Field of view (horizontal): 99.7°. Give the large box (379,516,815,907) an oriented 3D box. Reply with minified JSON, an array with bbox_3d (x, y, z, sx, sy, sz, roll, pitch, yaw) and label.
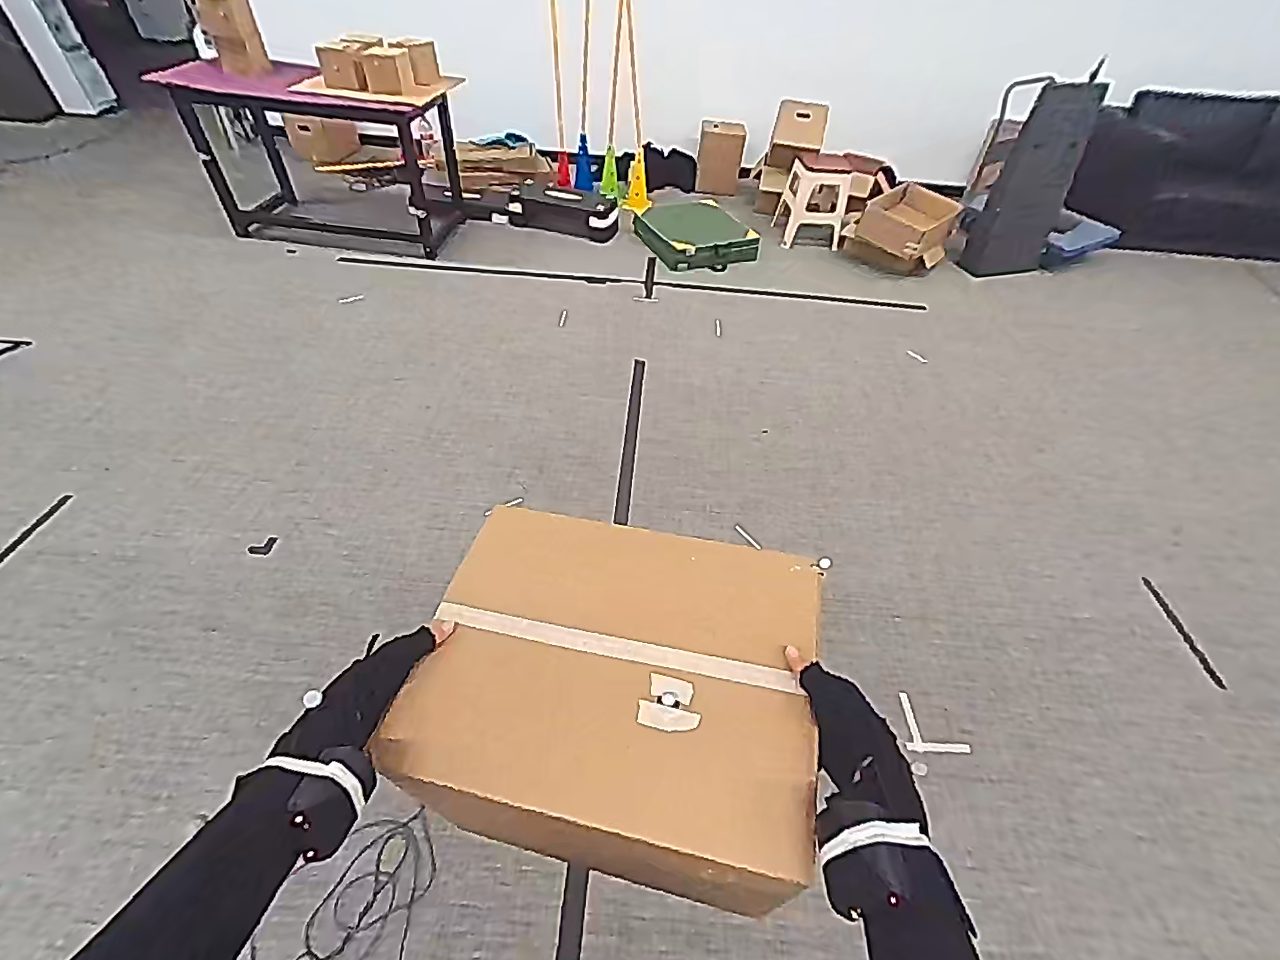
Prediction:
[{"bbox_3d":[-0.019,0.284,0.680,0.408,0.320,0.320,9,50,10],"label":"large box"}]
